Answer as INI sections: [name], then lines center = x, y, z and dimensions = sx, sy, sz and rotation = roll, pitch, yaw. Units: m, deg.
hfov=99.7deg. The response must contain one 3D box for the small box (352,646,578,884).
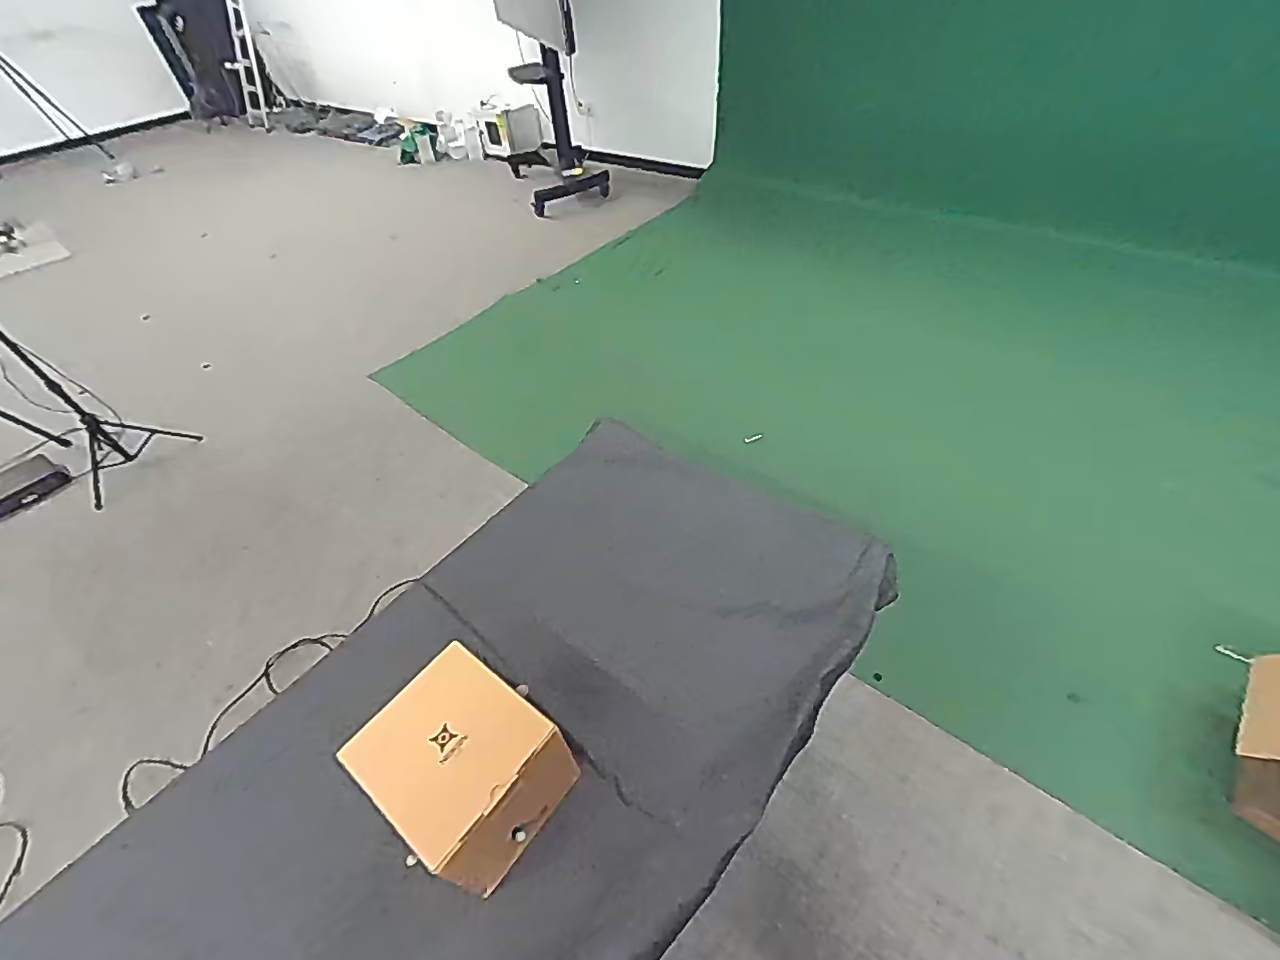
[small box]
center = -0.197, 0.344, 0.651
dimensions = 0.179, 0.176, 0.168
rotation = 27, 55, 27
